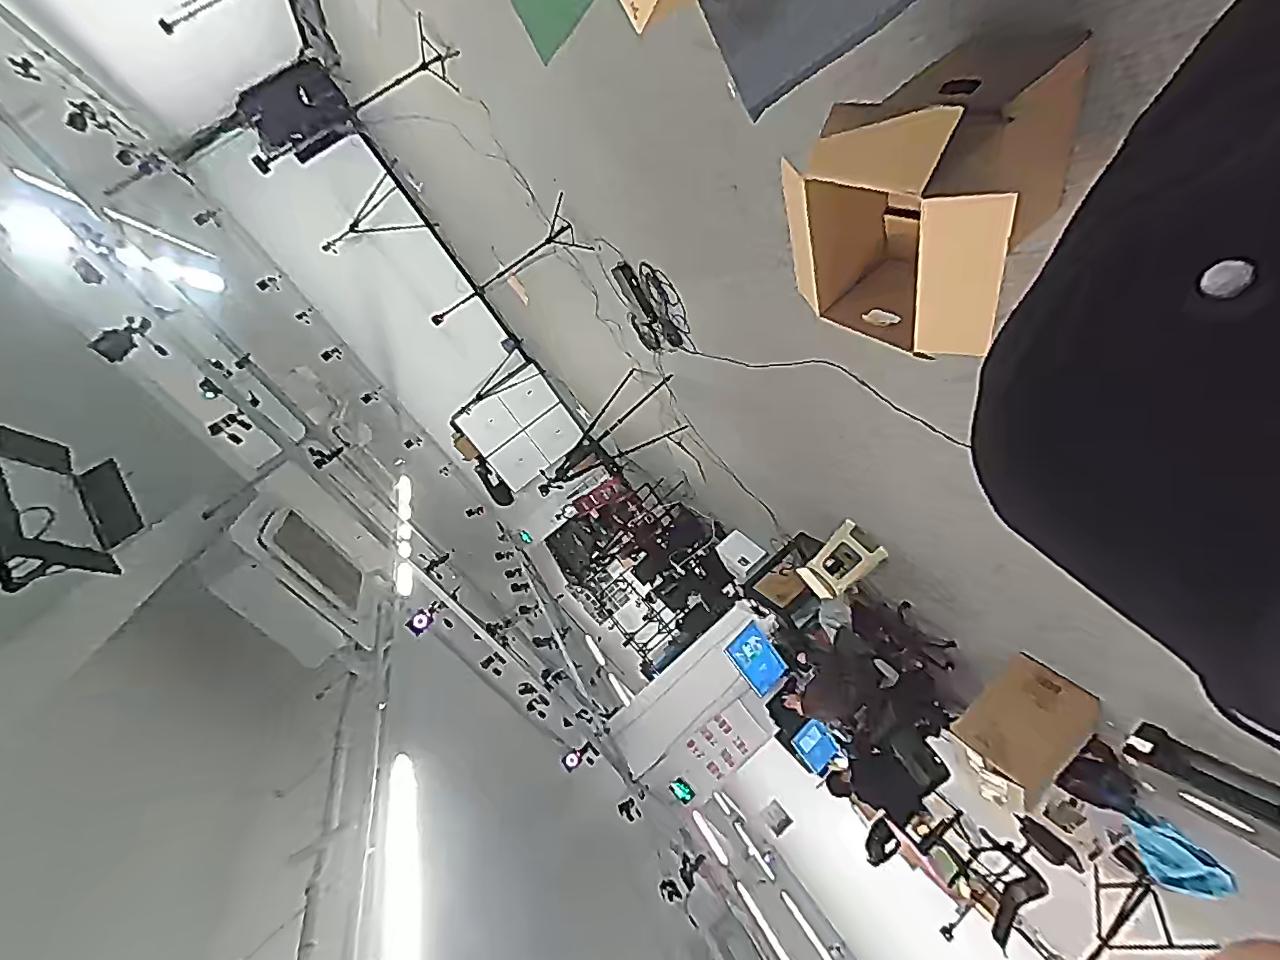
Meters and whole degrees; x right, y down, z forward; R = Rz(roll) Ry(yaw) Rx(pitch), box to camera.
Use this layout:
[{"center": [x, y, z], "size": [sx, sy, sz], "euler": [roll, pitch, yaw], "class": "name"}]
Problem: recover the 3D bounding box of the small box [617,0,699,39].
[{"center": [0.045, -0.879, 0.866], "size": [0.168, 0.176, 0.179], "euler": [54, 169, -19], "class": "small box"}]
